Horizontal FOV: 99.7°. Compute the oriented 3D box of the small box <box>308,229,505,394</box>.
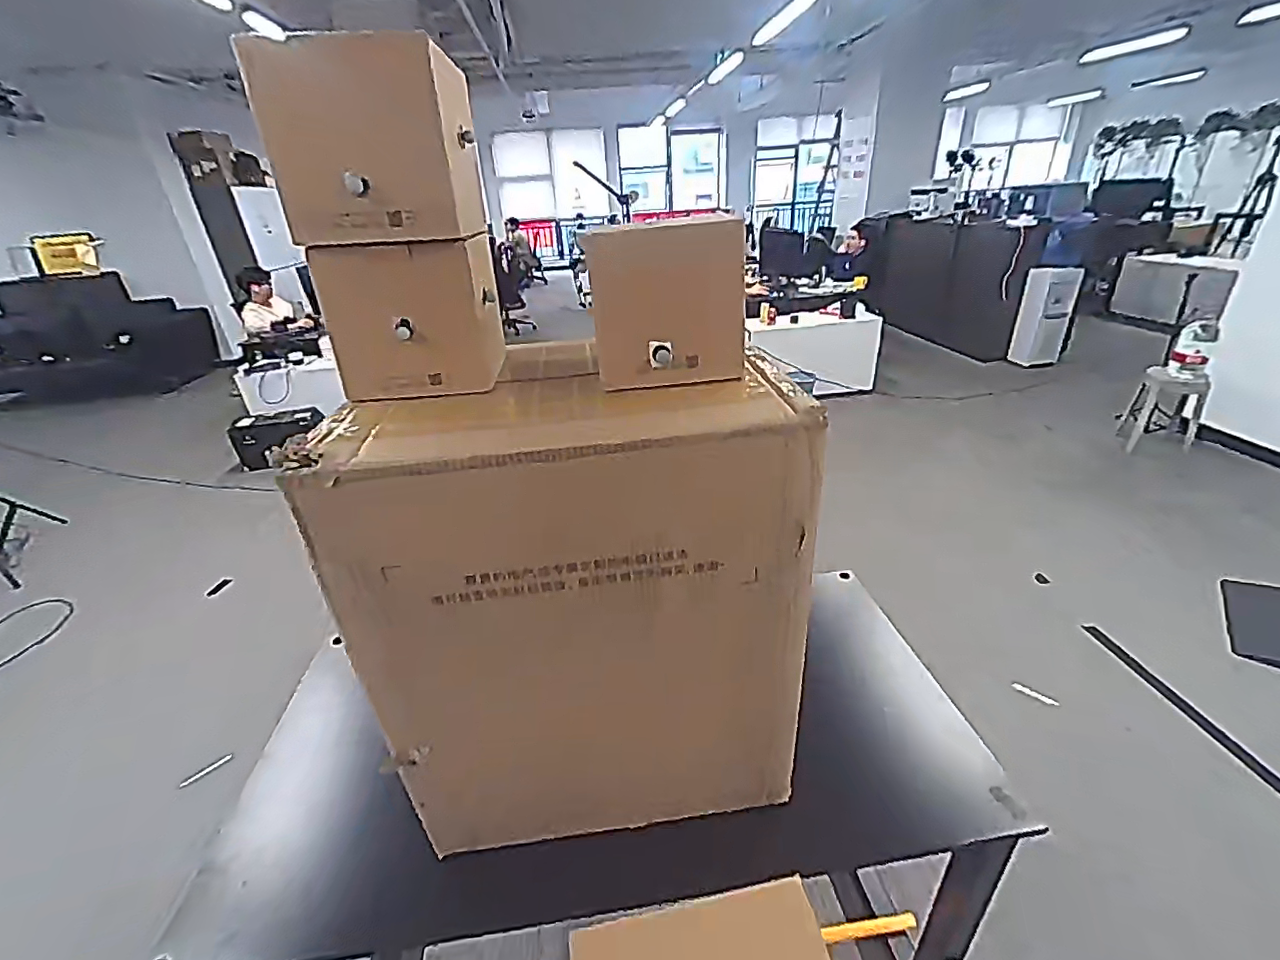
[{"bbox_3d":[-0.267,-0.209,0.670,0.168,0.176,0.179,-5,28,-5],"label":"small box"}]

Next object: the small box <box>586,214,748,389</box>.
[{"bbox_3d":[0.028,-0.219,0.652,0.168,0.176,0.179,-7,28,-1],"label":"small box"}]

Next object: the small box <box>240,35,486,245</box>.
[{"bbox_3d":[-0.269,-0.348,0.578,0.168,0.176,0.179,-5,28,-4],"label":"small box"}]

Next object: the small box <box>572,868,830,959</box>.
[{"bbox_3d":[0.050,0.399,0.350,0.168,0.176,0.179,-9,35,-6],"label":"small box"}]
